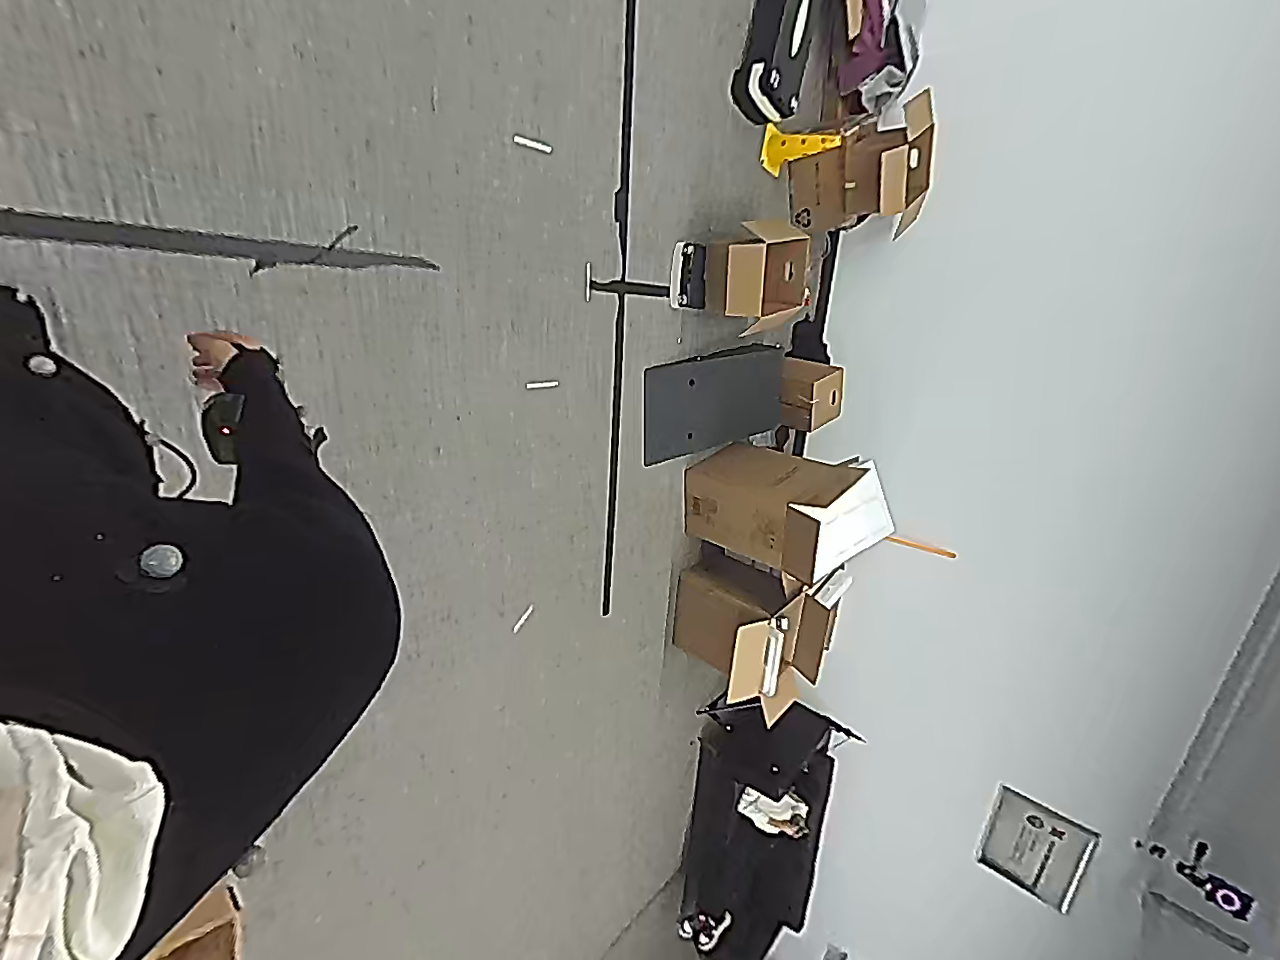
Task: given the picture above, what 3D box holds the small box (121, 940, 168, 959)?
[{"bbox_3d":[-1.048,1.094,1.081,0.179,0.176,0.168,-9,112,-49],"label":"small box"}]
